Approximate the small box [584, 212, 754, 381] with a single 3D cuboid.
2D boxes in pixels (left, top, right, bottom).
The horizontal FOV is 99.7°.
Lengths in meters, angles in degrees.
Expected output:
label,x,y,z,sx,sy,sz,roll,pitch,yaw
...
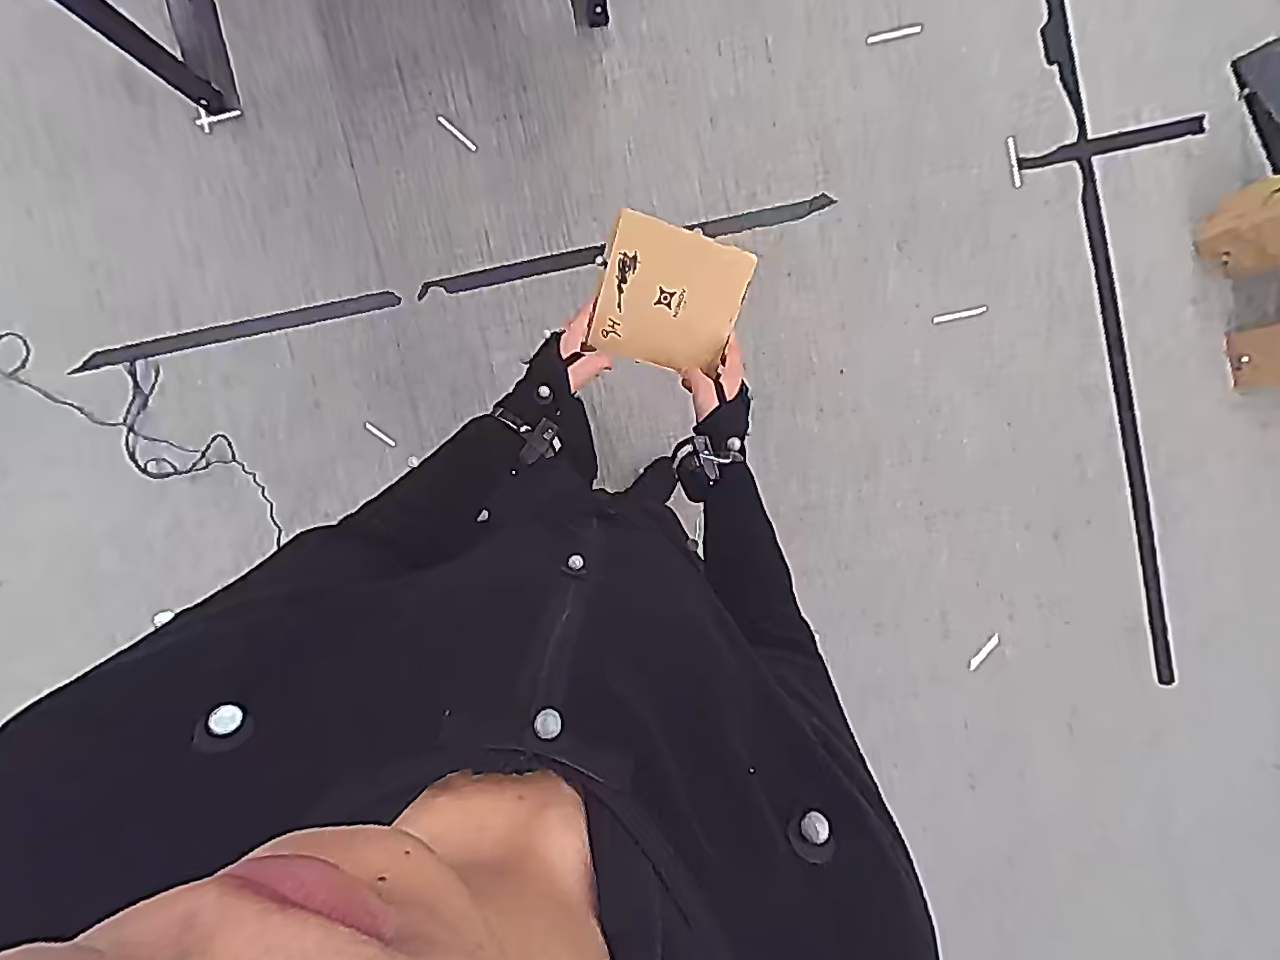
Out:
label,x,y,z,sx,sy,sz,roll,pitch,yaw
small box,0.028,-0.257,0.755,0.179,0.176,0.168,15,110,-13
